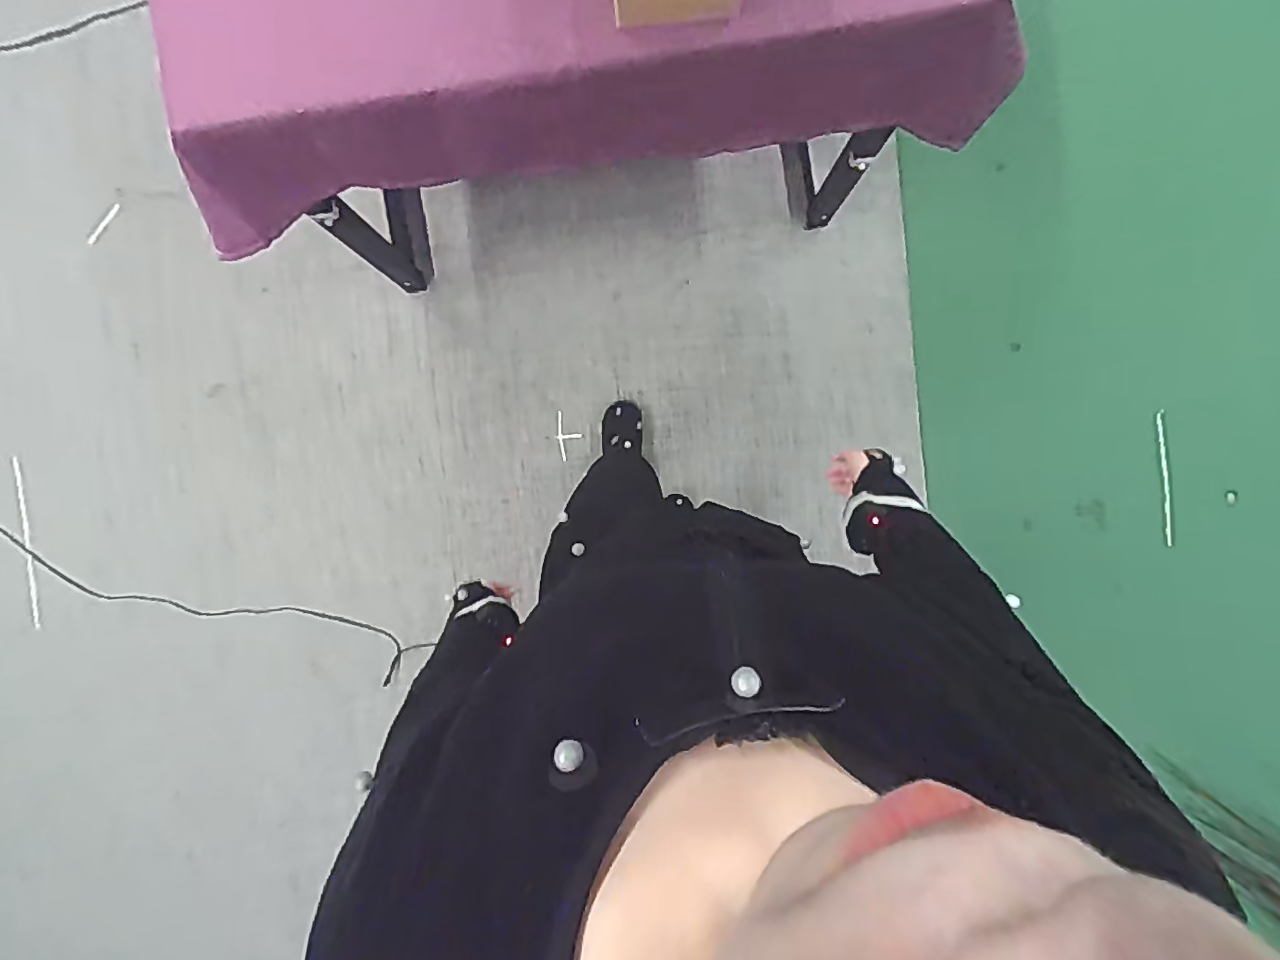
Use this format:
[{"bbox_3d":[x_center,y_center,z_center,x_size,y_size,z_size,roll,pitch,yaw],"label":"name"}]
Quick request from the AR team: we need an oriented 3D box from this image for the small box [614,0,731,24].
[{"bbox_3d":[0.045,-0.725,0.677,0.179,0.176,0.168,-6,90,2],"label":"small box"}]
